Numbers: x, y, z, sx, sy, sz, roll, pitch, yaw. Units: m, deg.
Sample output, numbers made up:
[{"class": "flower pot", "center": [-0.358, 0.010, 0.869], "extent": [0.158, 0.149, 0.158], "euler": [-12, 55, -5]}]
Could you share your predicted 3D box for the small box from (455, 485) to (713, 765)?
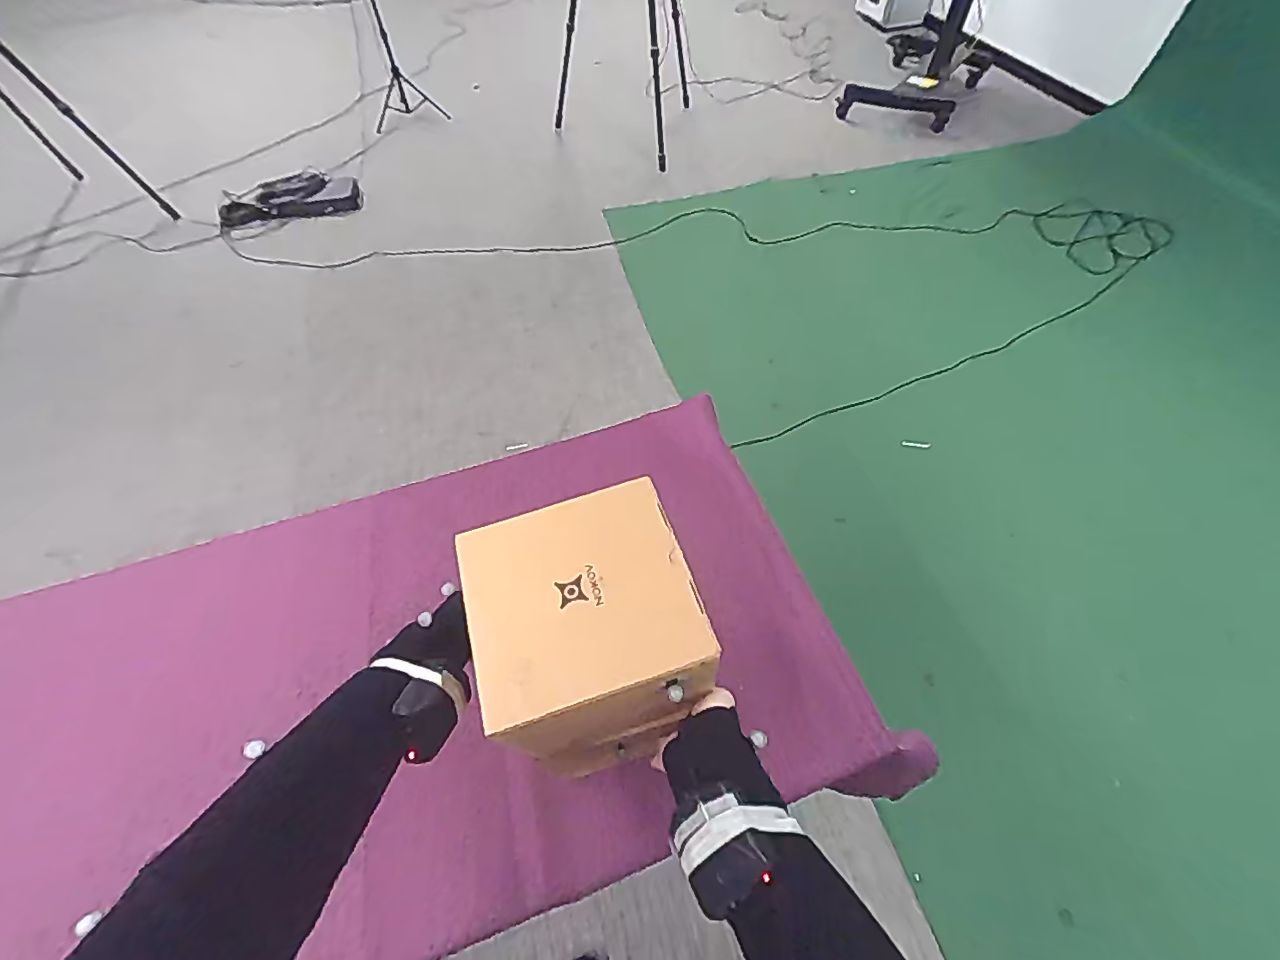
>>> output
[{"class": "small box", "center": [-0.046, 0.136, 0.490], "extent": [0.179, 0.176, 0.168], "euler": [-17, 56, -8]}]
